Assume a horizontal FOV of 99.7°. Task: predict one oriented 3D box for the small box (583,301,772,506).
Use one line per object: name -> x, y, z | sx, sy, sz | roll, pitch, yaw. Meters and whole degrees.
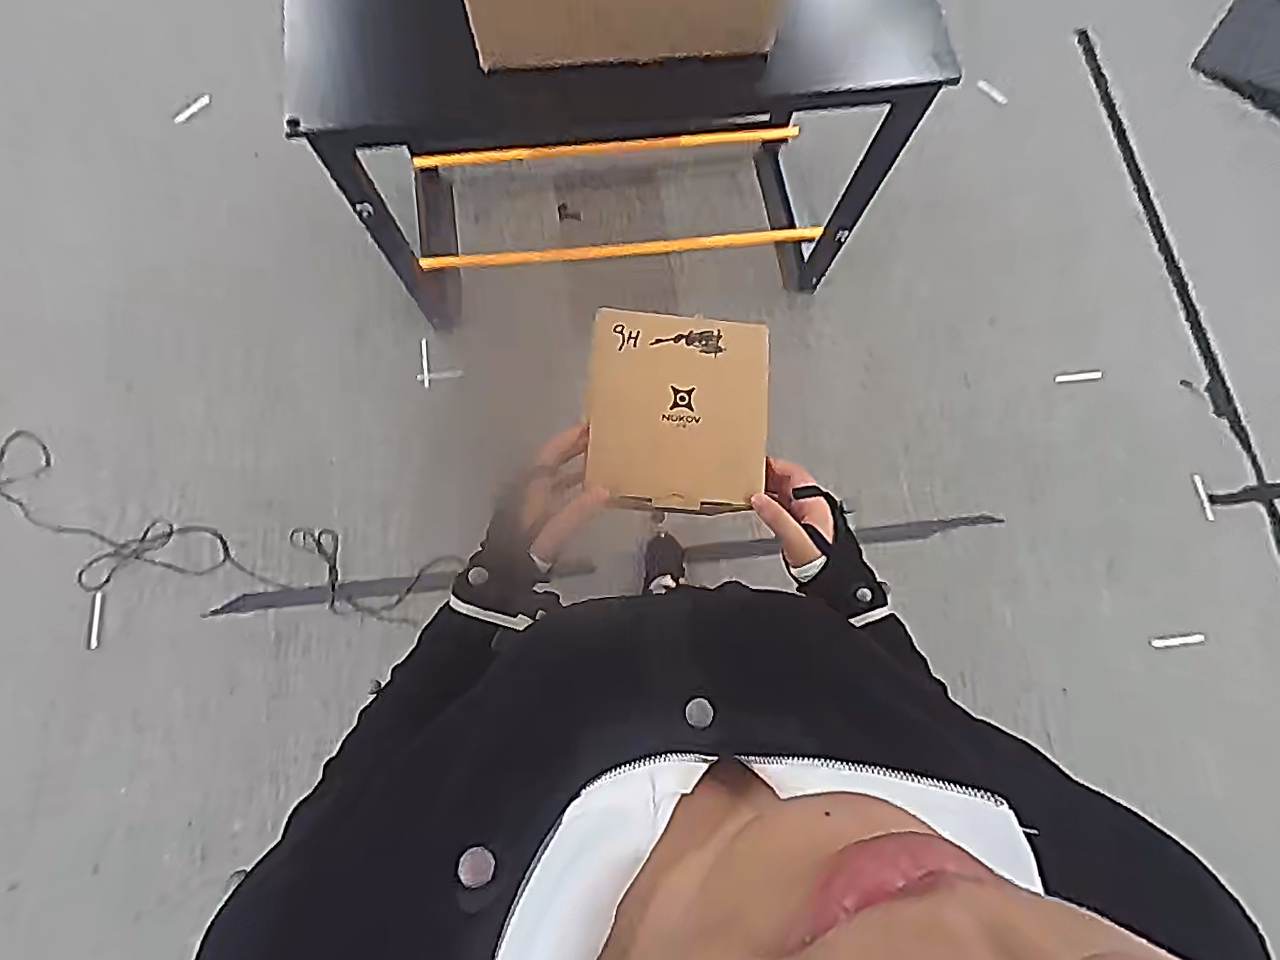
small box -> 0.028, -0.065, 0.567 | 0.168, 0.176, 0.179 | 4, 85, -7
